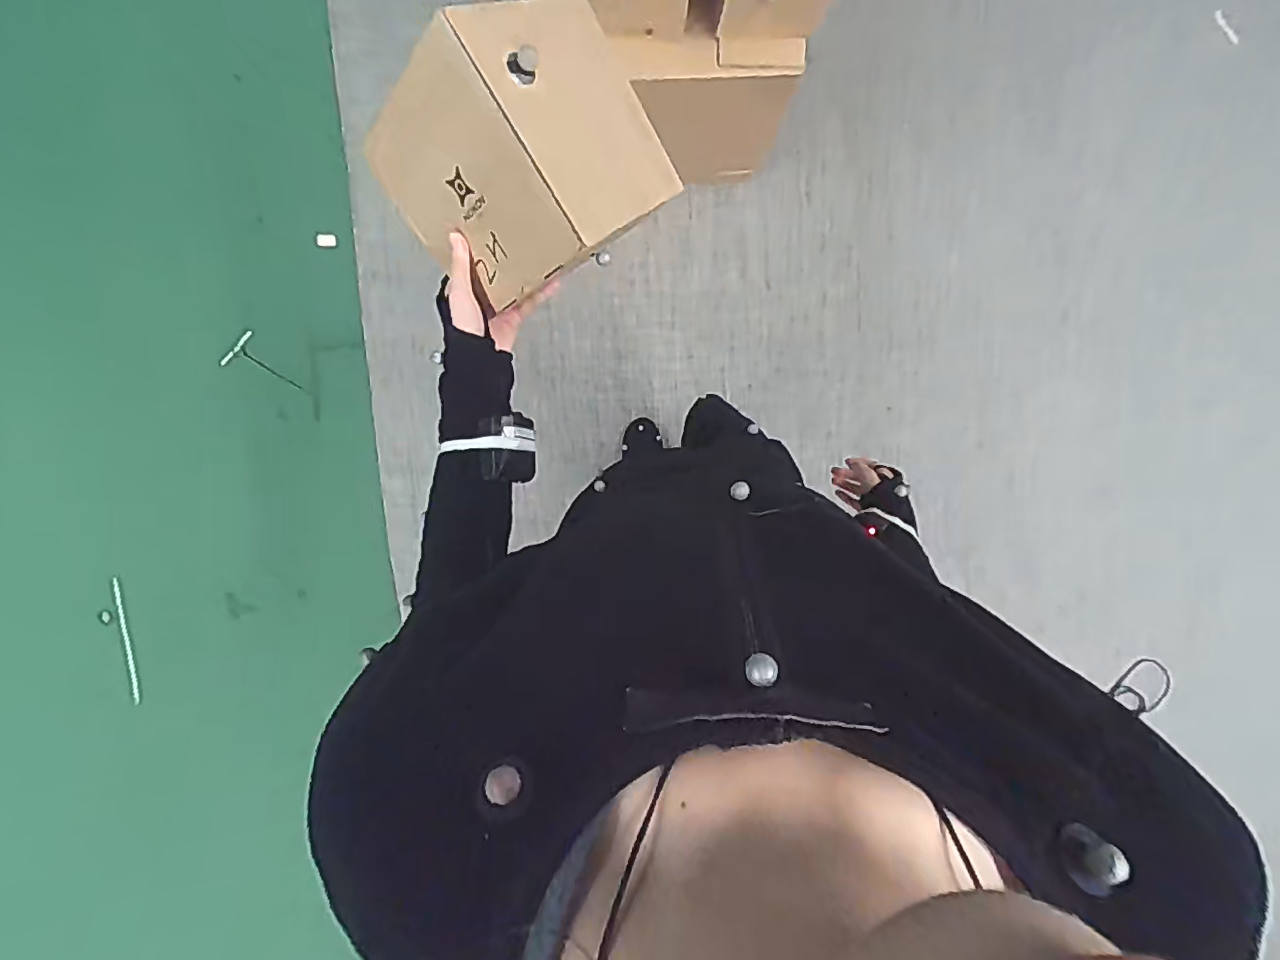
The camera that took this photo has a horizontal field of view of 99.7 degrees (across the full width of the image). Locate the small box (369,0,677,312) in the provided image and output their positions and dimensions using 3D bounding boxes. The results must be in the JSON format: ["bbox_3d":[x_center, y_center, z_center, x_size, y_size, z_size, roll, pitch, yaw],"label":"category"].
[{"bbox_3d":[-0.099,-0.291,0.497,0.179,0.168,0.176,56,50,-19],"label":"small box"}]
